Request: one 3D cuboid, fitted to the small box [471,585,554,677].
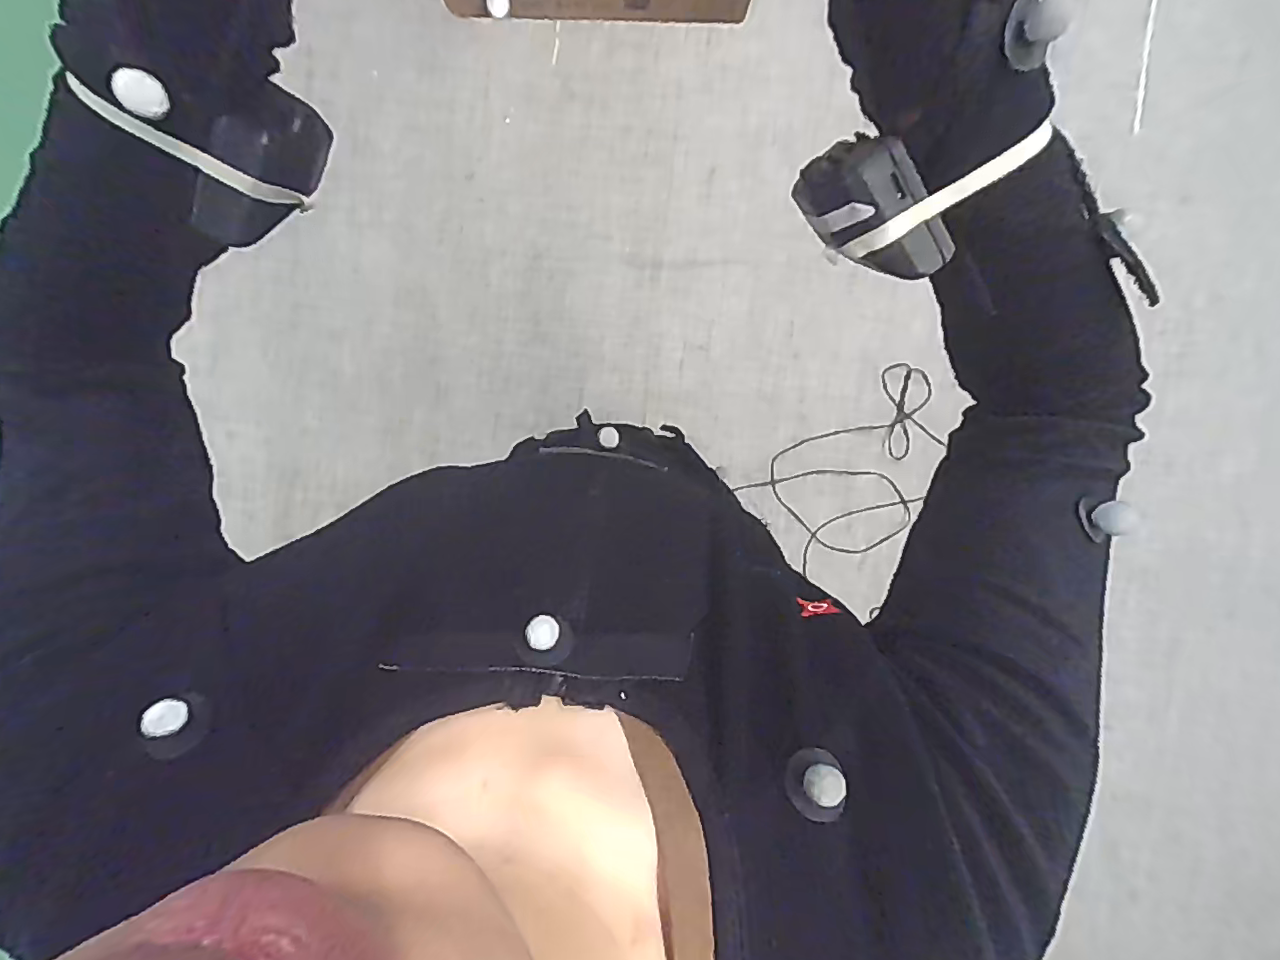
[{"bbox_3d":[-0.326,0.389,1.414,0.168,0.176,0.179,7,92,0],"label":"small box"}]

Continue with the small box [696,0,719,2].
[{"bbox_3d":[-0.019,-0.330,0.203,0.168,0.176,0.179,0,100,-2],"label":"small box"}]
